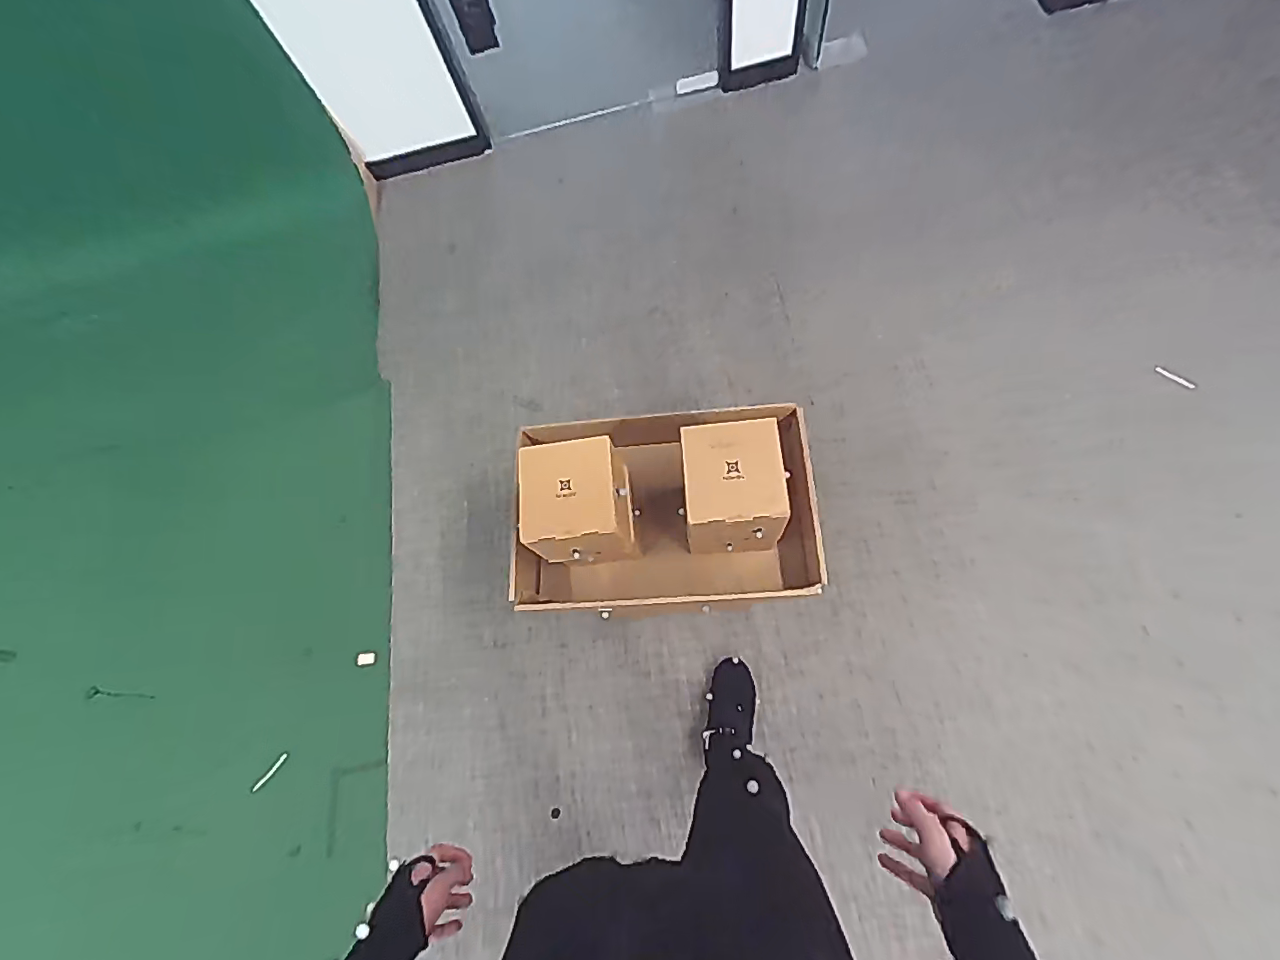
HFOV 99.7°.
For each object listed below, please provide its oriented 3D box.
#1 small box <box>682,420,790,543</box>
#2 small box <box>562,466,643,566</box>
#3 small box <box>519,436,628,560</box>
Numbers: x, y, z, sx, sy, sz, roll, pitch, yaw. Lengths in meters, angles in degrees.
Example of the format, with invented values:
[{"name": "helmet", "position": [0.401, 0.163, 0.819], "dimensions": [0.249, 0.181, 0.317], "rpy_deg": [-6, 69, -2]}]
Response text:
[{"name": "small box", "position": [0.163, 0.012, 0.956], "dimensions": [0.168, 0.176, 0.179], "rpy_deg": [-4, 69, 6]}, {"name": "small box", "position": [-0.093, 0.082, 1.143], "dimensions": [0.179, 0.176, 0.168], "rpy_deg": [-6, 70, 5]}, {"name": "small box", "position": [-0.117, 0.039, 0.987], "dimensions": [0.168, 0.176, 0.179], "rpy_deg": [-7, 71, 5]}]
